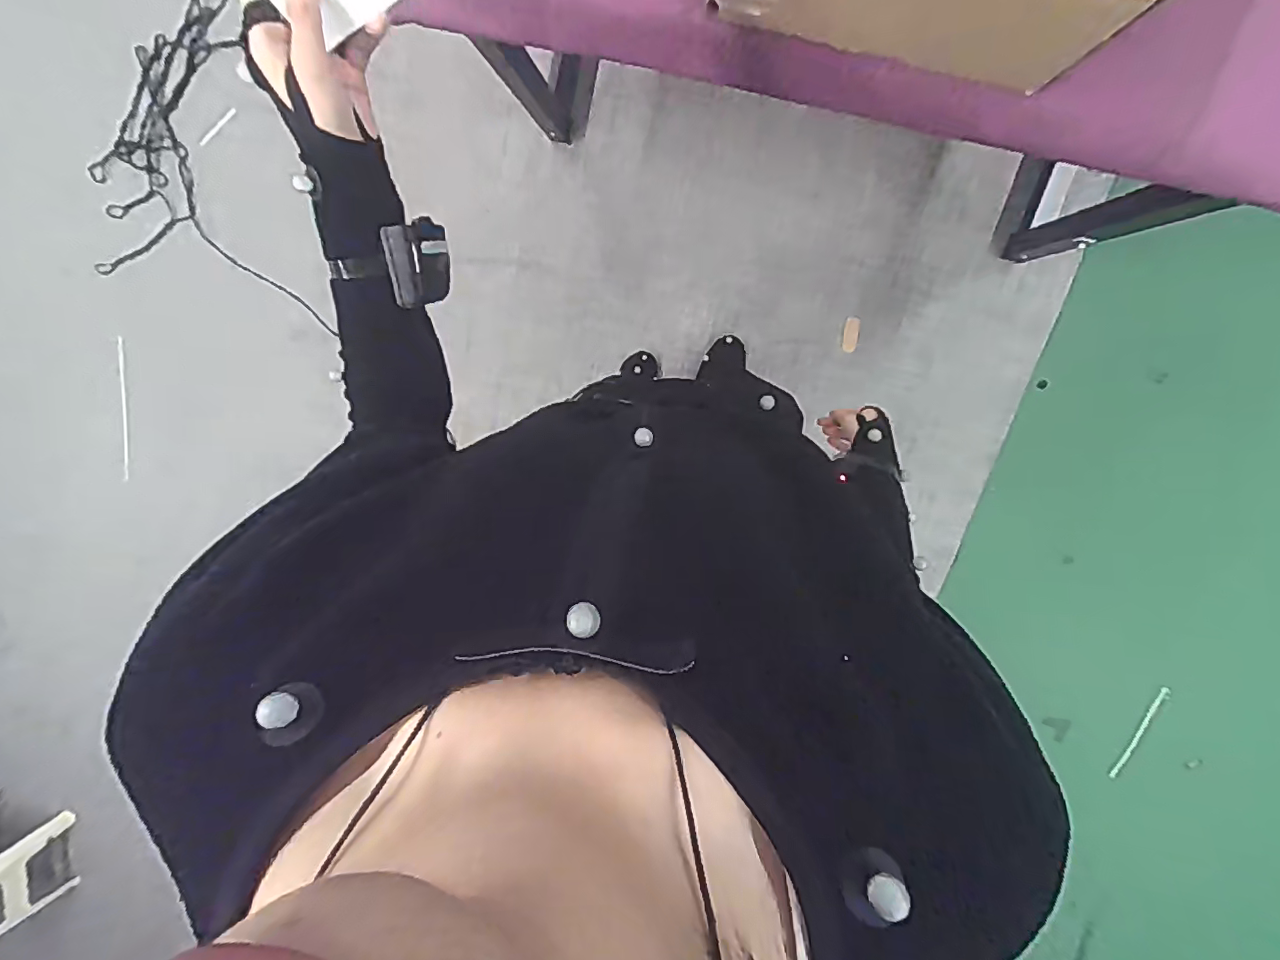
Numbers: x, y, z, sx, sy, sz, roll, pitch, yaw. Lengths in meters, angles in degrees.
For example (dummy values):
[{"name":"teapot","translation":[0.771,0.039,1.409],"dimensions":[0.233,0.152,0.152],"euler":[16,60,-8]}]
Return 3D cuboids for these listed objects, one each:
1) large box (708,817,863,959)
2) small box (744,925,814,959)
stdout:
[{"name":"large box","translation":[0.414,1.279,1.636],"dimensions":[0.408,0.320,0.320],"euler":[0,105,5]},{"name":"small box","translation":[0.360,1.305,1.394],"dimensions":[0.168,0.176,0.179],"euler":[7,104,6]}]
